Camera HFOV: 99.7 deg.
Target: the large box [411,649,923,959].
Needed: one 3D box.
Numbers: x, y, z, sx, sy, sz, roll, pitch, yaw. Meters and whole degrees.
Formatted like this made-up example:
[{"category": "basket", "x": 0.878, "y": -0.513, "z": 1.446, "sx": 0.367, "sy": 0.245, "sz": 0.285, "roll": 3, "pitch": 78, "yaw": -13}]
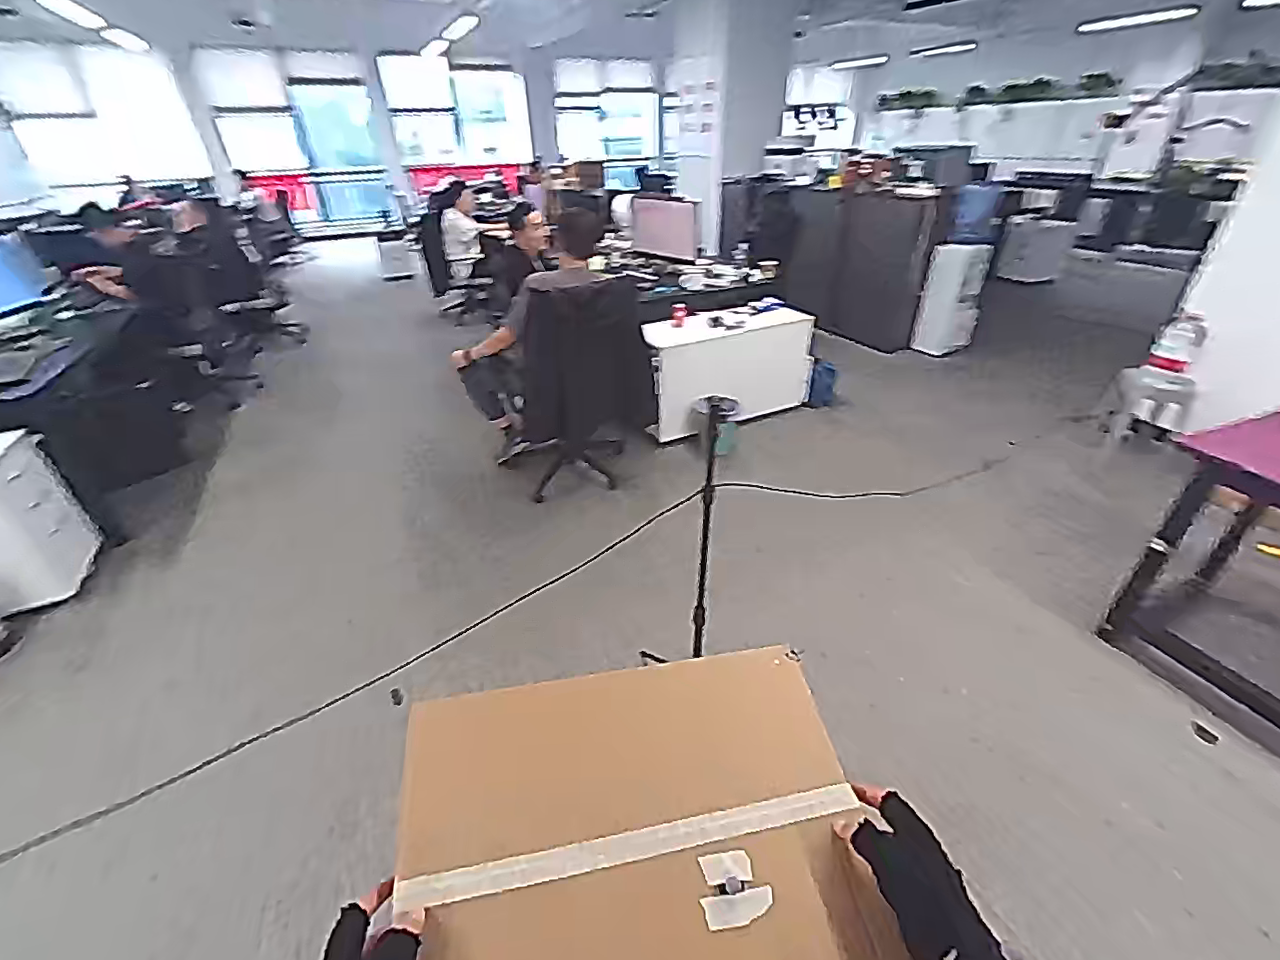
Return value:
[{"category": "large box", "x": -0.001, "y": 0.423, "z": 0.584, "sx": 0.408, "sy": 0.320, "sz": 0.320, "roll": -5, "pitch": 46, "yaw": -10}]
